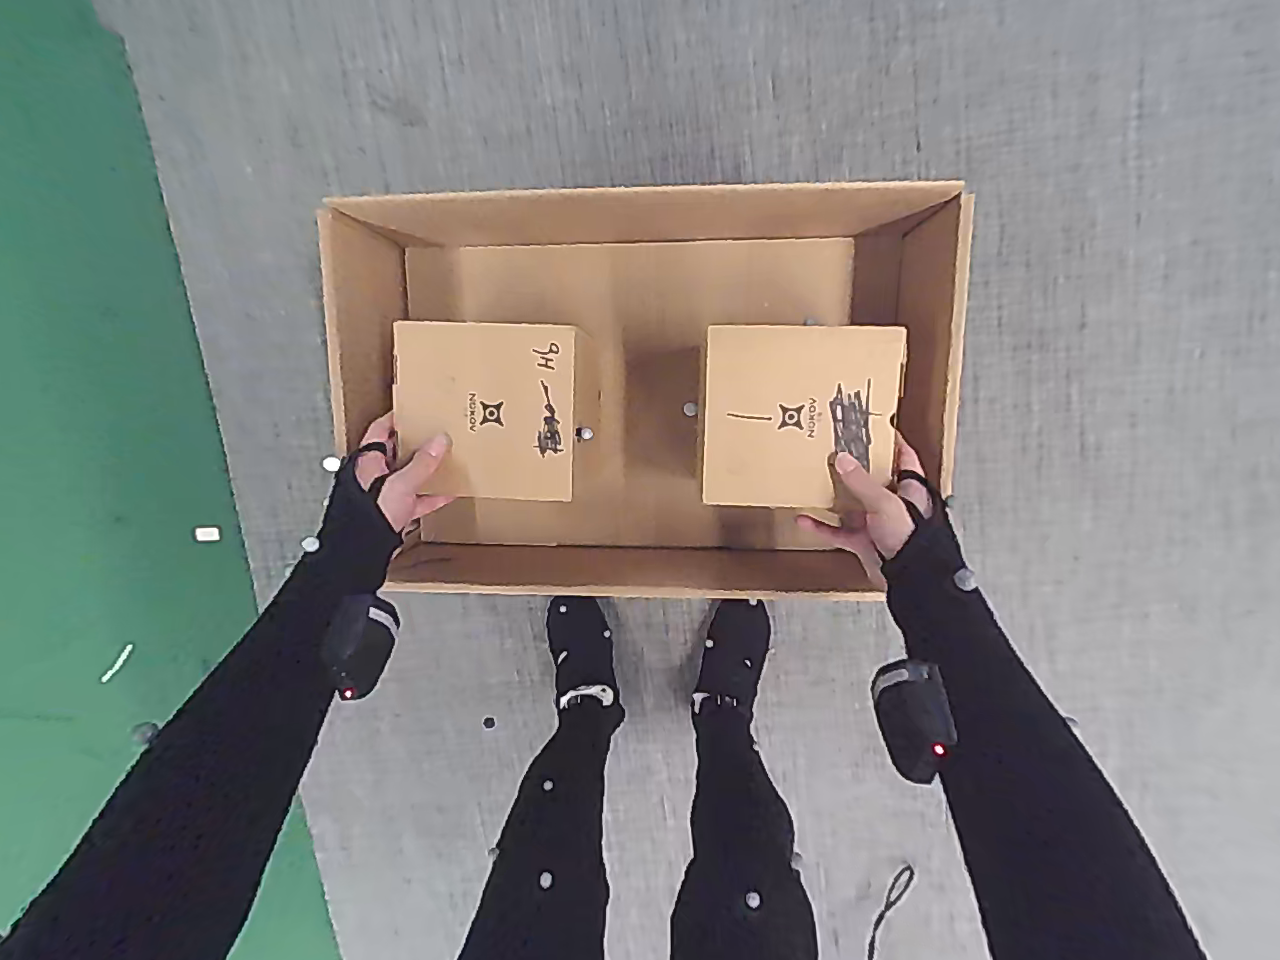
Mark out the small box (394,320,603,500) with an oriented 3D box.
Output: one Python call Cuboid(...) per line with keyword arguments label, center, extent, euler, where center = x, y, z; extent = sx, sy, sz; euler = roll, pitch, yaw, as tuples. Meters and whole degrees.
Cuboid(label="small box", center=(-0.144, -0.076, 0.595), extent=(0.179, 0.176, 0.168), euler=(3, 98, 5))
